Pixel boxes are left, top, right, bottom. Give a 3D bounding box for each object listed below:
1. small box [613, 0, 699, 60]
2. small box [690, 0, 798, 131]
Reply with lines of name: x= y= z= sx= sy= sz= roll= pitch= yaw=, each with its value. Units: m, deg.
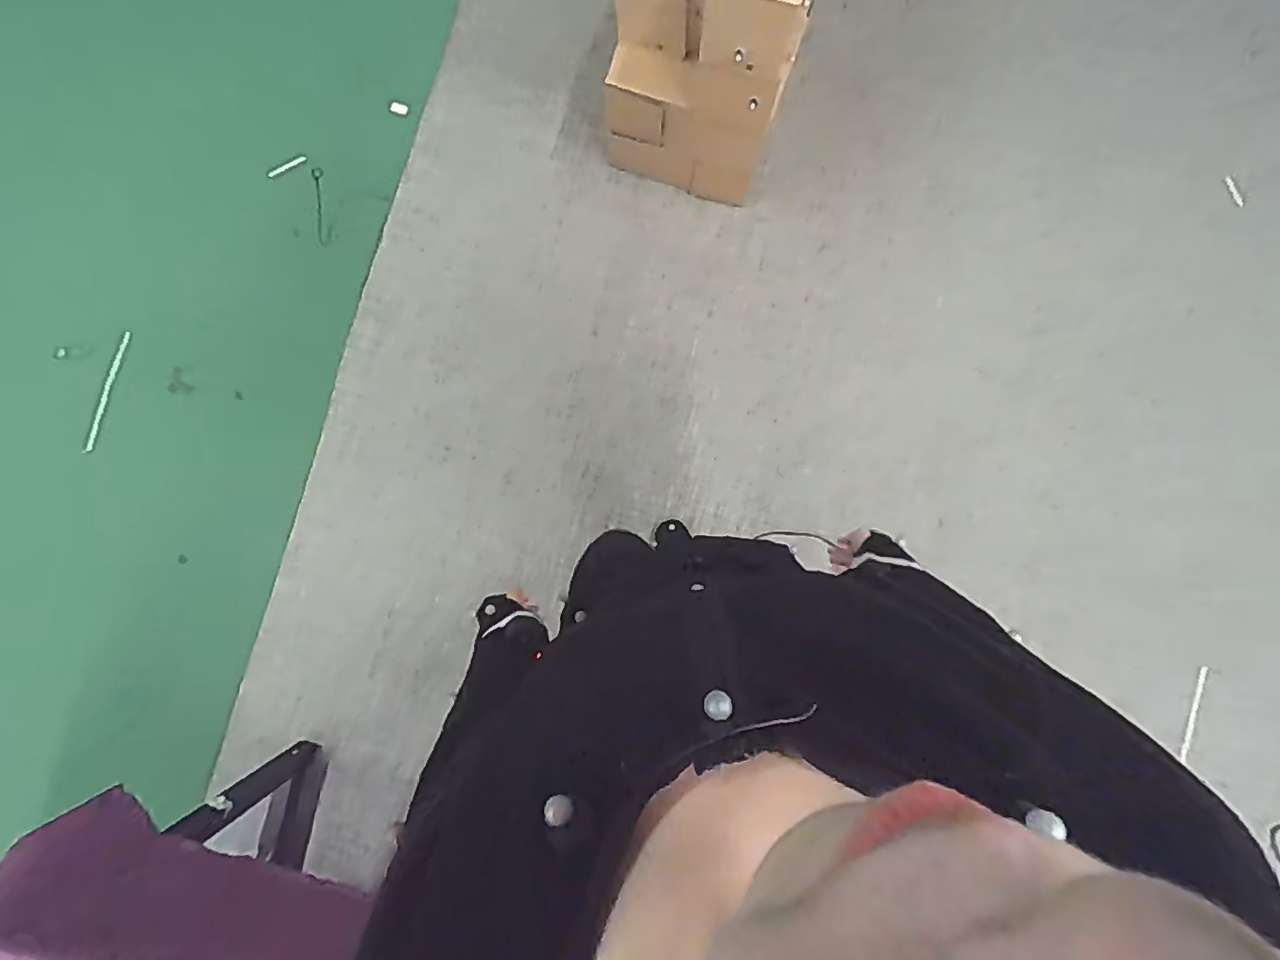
small box: x=0.039 y=-1.088 z=1.187 sx=0.168 sy=0.176 sz=0.179 roll=18 pitch=85 yaw=3
small box: x=0.216 y=-0.899 z=1.168 sx=0.179 sy=0.176 sz=0.168 roll=16 pitch=86 yaw=3
